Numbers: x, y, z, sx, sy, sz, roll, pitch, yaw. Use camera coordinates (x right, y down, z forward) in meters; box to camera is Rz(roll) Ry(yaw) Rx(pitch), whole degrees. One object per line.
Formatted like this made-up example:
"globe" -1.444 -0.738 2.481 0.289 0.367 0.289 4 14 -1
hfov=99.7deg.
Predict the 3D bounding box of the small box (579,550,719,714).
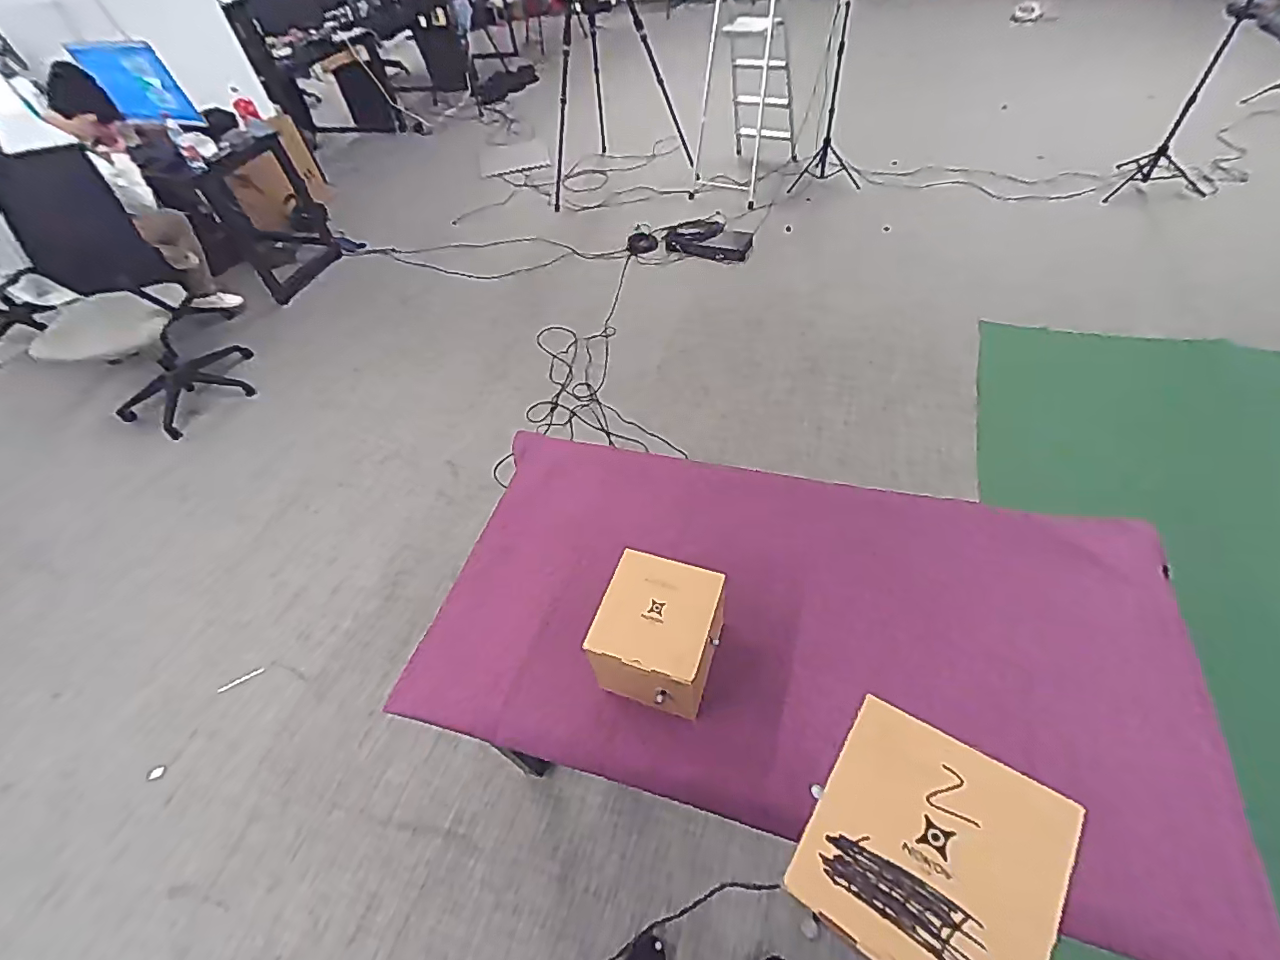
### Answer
"small box" 0.024 0.244 0.859 0.168 0.176 0.179 14 53 16
